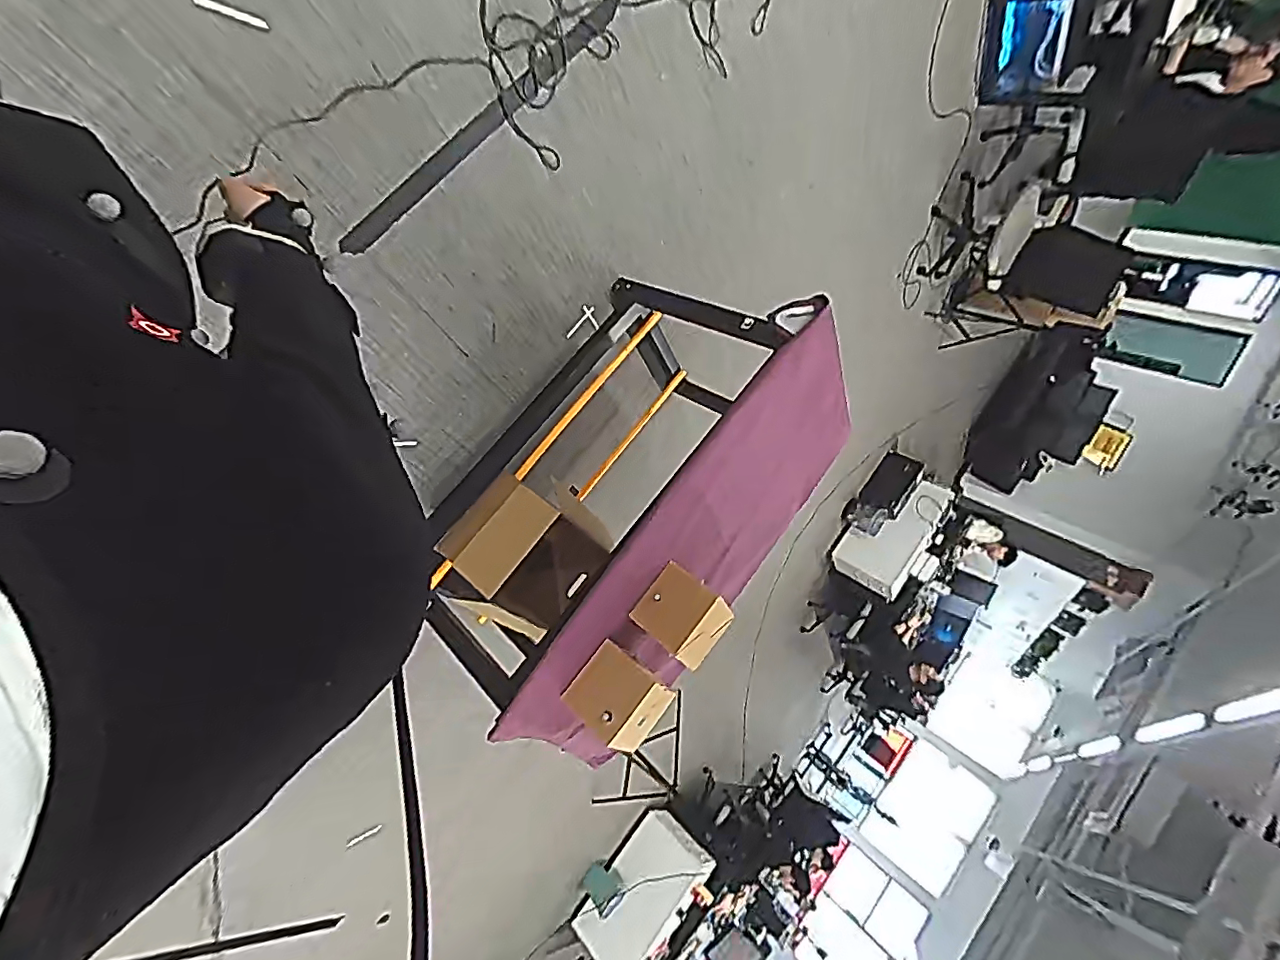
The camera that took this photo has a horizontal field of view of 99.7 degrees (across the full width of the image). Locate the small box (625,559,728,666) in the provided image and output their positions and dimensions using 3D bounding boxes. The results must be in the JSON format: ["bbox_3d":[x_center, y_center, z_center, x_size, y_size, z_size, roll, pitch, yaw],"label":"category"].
[{"bbox_3d":[0.100,0.336,1.366,0.179,0.176,0.168,-51,145,-12],"label":"small box"}]

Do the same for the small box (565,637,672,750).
[{"bbox_3d":[-0.057,0.516,1.308,0.179,0.176,0.168,-50,146,-12],"label":"small box"}]
